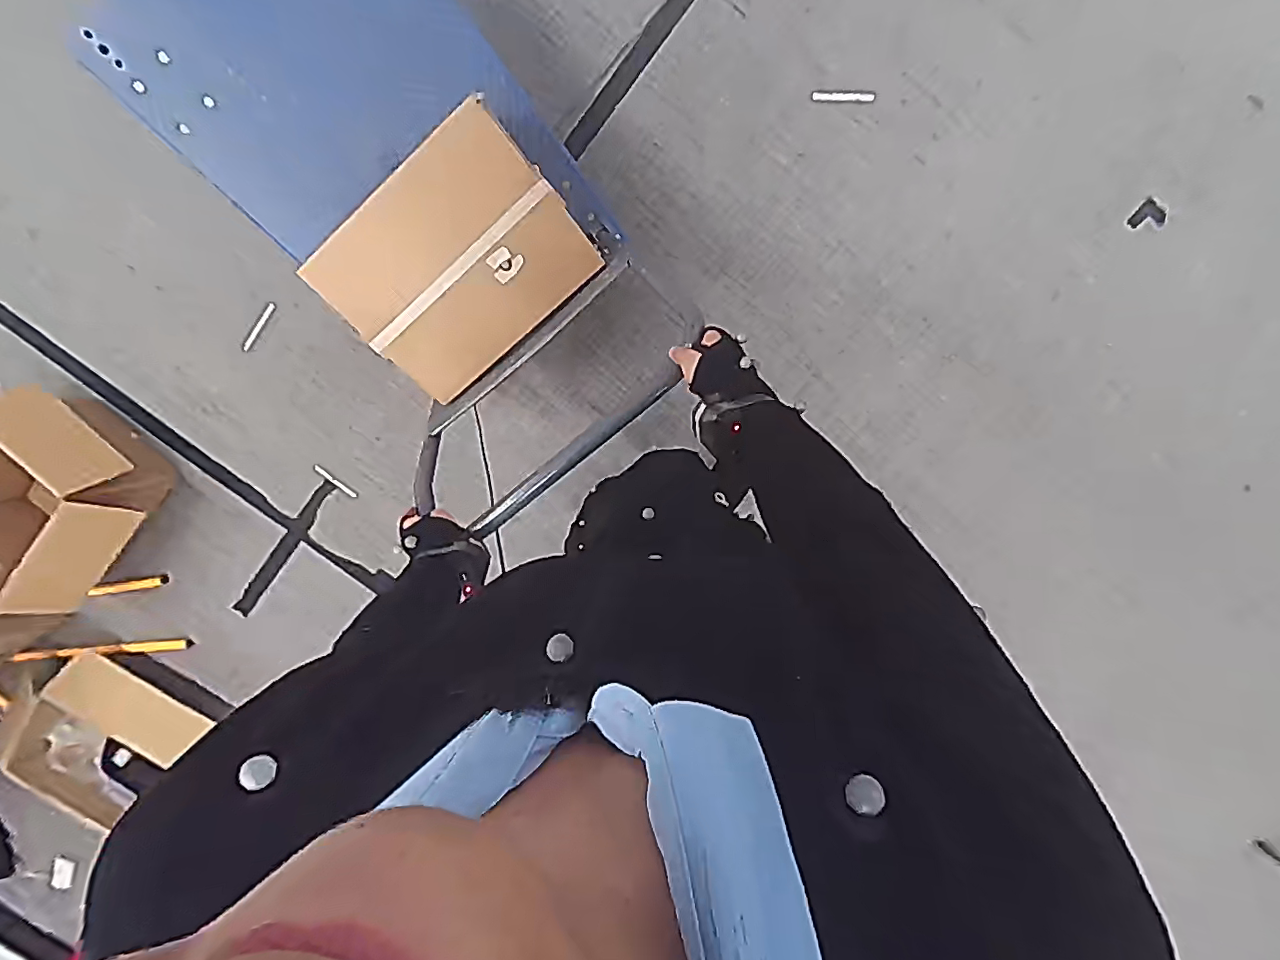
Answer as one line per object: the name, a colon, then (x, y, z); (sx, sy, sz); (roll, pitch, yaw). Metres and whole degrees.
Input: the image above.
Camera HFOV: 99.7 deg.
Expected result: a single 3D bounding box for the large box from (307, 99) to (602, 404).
large box: (-0.337, -0.427, 1.051); (0.408, 0.320, 0.320); (-39, 120, 9)
